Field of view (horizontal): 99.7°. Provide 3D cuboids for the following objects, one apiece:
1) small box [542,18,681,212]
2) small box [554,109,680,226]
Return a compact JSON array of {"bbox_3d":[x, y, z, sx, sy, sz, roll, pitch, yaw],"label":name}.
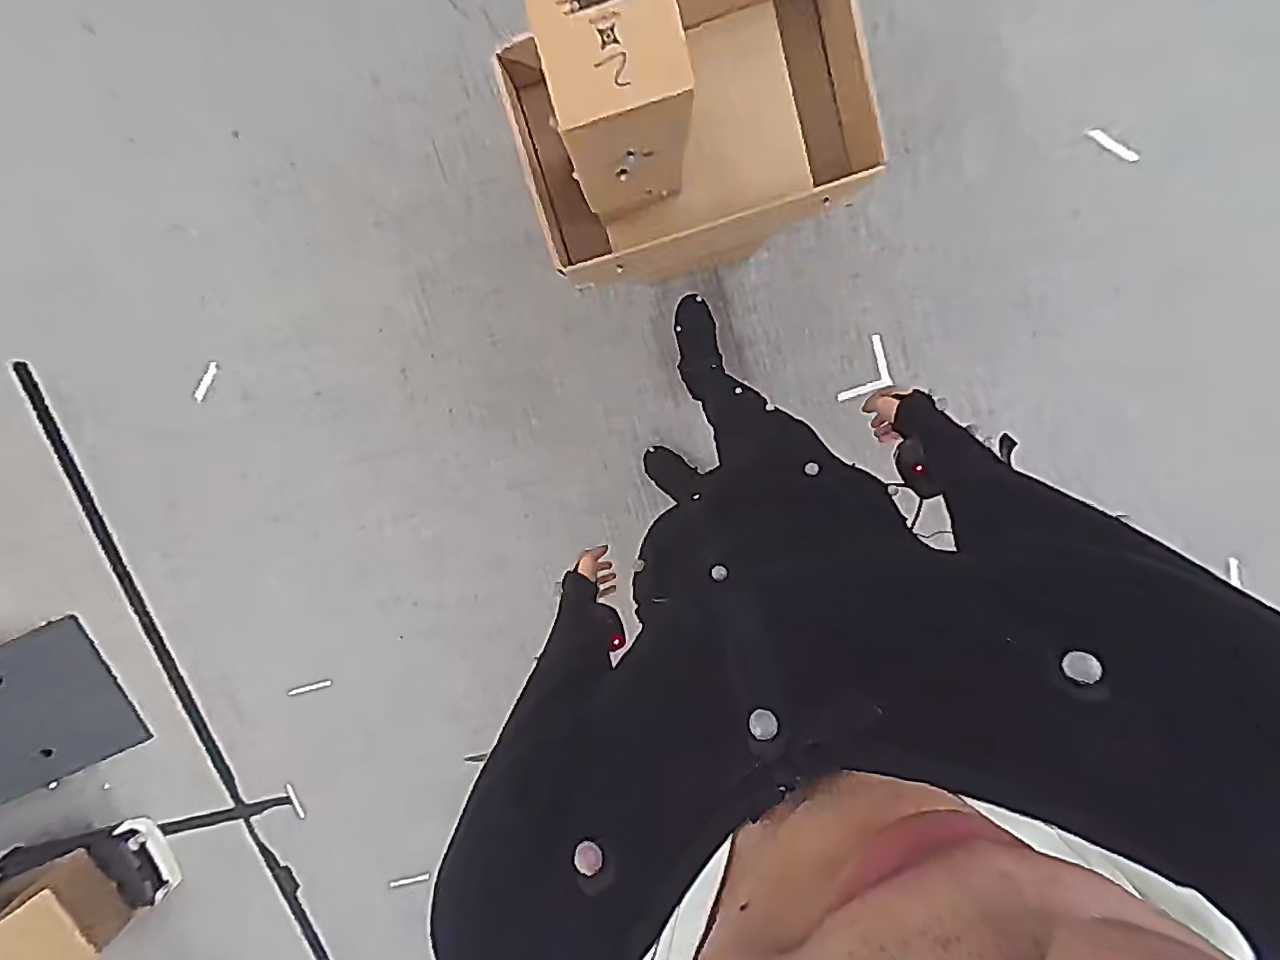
[{"bbox_3d":[-0.039,-0.555,0.848,0.168,0.176,0.179,-16,99,5],"label":"small box"},{"bbox_3d":[-0.038,-0.604,1.005,0.179,0.176,0.168,-21,99,6],"label":"small box"}]
